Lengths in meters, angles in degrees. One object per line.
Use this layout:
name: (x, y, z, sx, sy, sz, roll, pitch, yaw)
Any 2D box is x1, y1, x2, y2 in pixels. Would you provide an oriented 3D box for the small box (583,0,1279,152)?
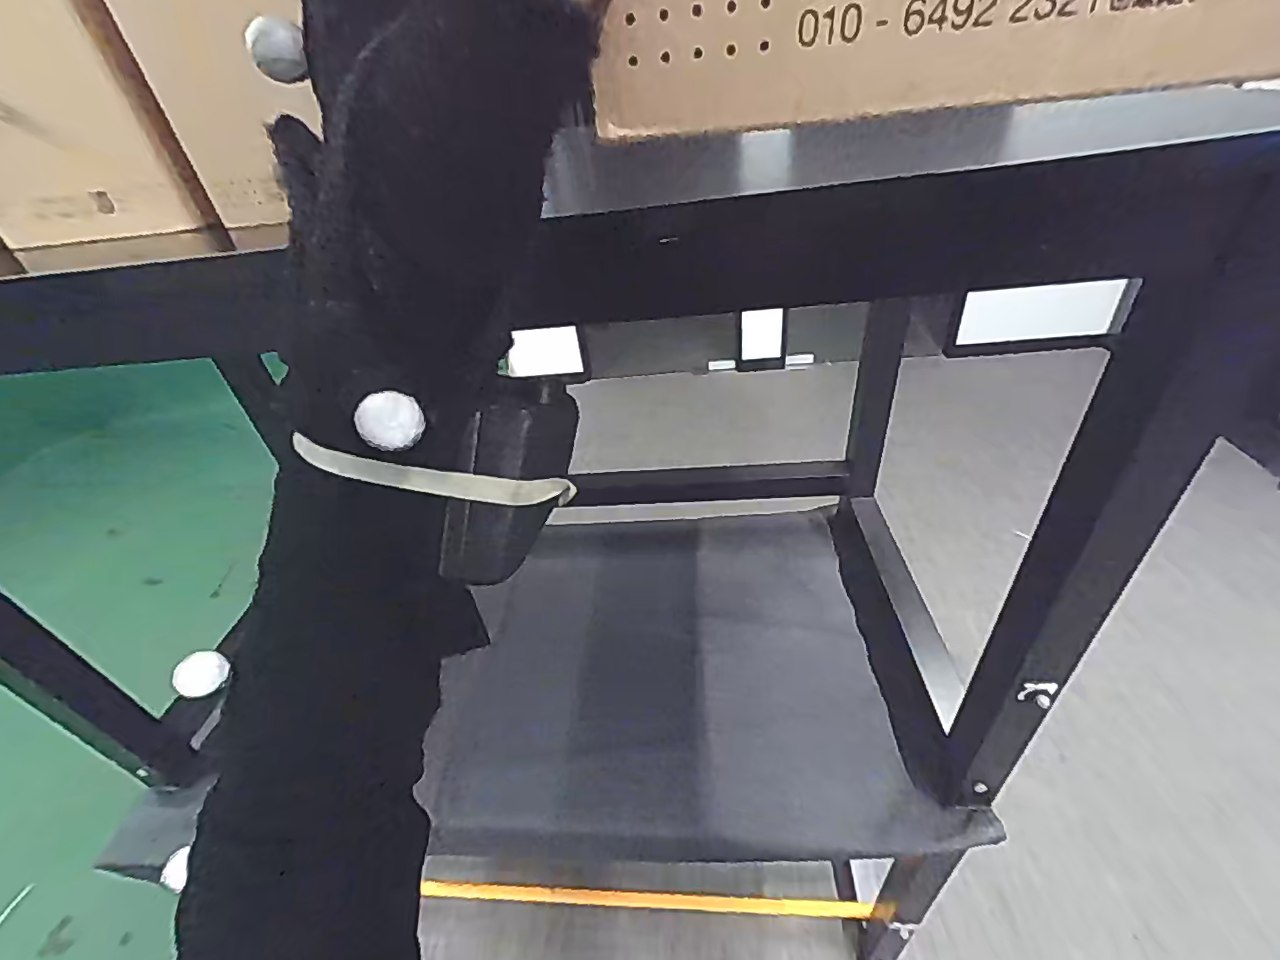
small box: (0.068, -0.187, 0.129, 0.168, 0.176, 0.179, -2, 38, 5)

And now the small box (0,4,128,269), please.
small box: (-0.586, -0.271, 0.440, 0.168, 0.176, 0.179, -2, 38, 8)
